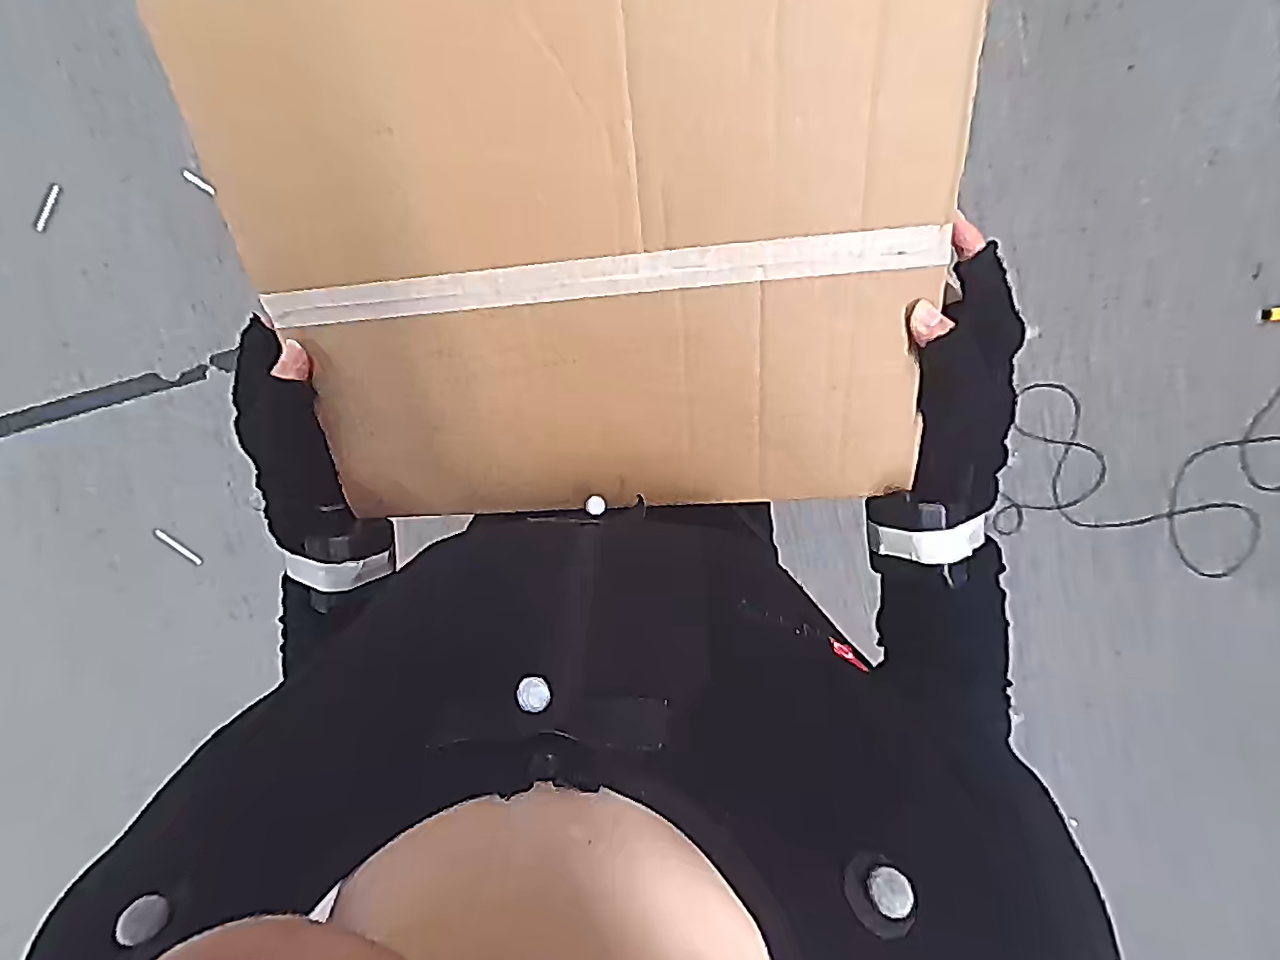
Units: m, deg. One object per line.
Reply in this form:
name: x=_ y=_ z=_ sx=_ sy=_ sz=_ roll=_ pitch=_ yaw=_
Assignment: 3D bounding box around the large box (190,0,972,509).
large box: x=-0.018 y=-0.194 z=0.460 sx=0.408 sy=0.320 sz=0.320 roll=-3 pitch=120 yaw=6
